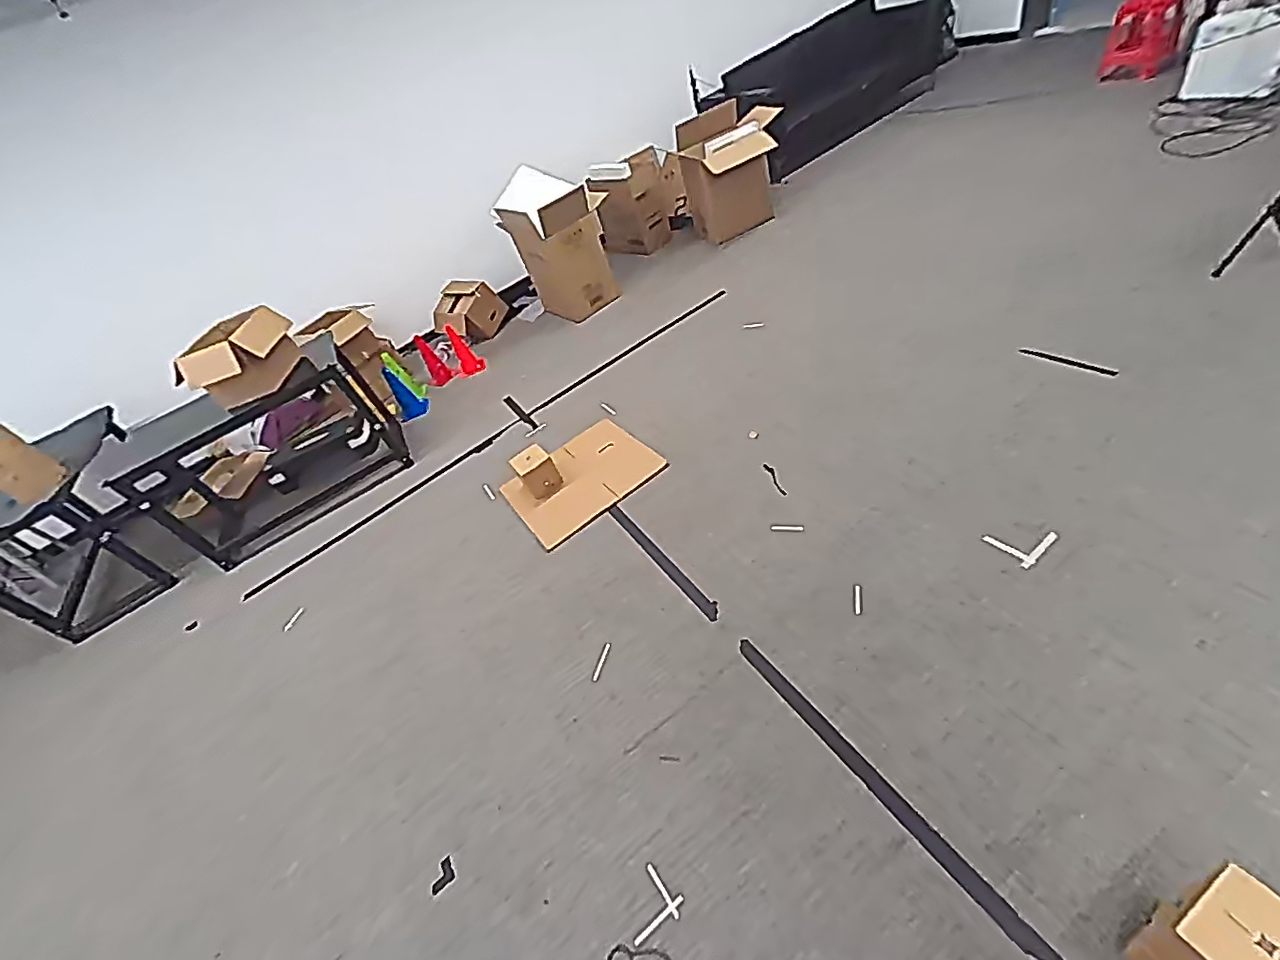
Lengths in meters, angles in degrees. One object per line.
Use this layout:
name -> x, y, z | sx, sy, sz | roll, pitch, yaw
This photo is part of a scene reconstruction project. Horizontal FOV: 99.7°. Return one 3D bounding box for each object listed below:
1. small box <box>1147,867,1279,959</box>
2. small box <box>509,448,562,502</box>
small box -> 0.992, 0.784, 0.876 | 0.168, 0.176, 0.179 | -34, 40, -13
small box -> -0.516, -0.021, 2.679 | 0.168, 0.176, 0.179 | -37, 42, -14
